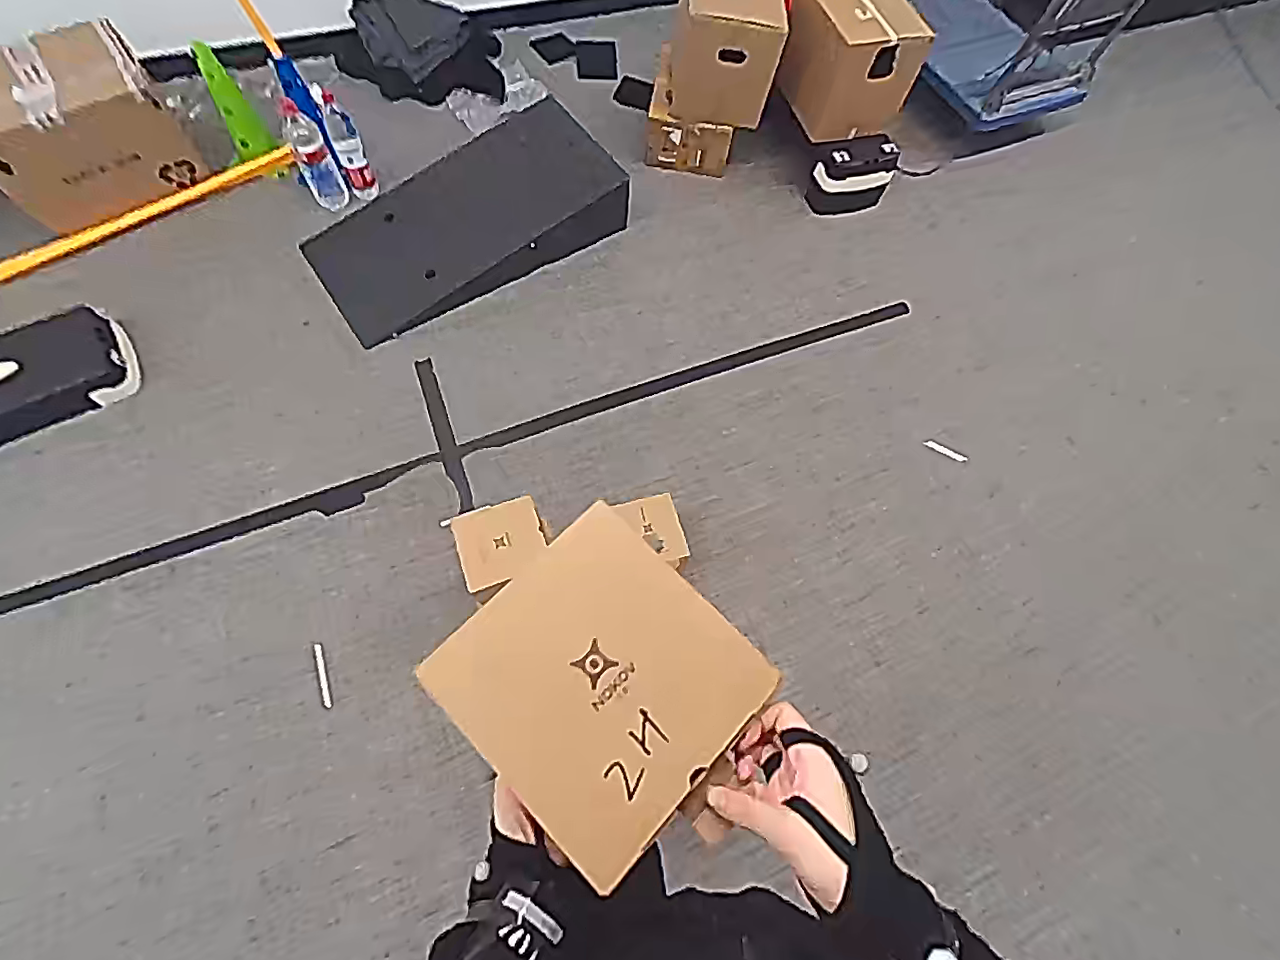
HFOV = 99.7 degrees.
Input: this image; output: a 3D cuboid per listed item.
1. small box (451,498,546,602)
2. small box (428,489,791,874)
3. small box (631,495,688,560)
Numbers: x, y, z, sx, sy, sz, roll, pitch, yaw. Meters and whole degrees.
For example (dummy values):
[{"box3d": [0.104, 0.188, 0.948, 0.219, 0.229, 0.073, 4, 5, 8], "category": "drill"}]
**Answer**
[{"box3d": [-0.287, 0.162, 1.165, 0.179, 0.176, 0.168, -18, 68, -12], "category": "small box"}, {"box3d": [-0.023, 0.143, 0.417, 0.168, 0.176, 0.179, -42, 77, -17], "category": "small box"}, {"box3d": [0.011, 0.163, 1.373, 0.168, 0.176, 0.179, -13, 67, -11], "category": "small box"}]
